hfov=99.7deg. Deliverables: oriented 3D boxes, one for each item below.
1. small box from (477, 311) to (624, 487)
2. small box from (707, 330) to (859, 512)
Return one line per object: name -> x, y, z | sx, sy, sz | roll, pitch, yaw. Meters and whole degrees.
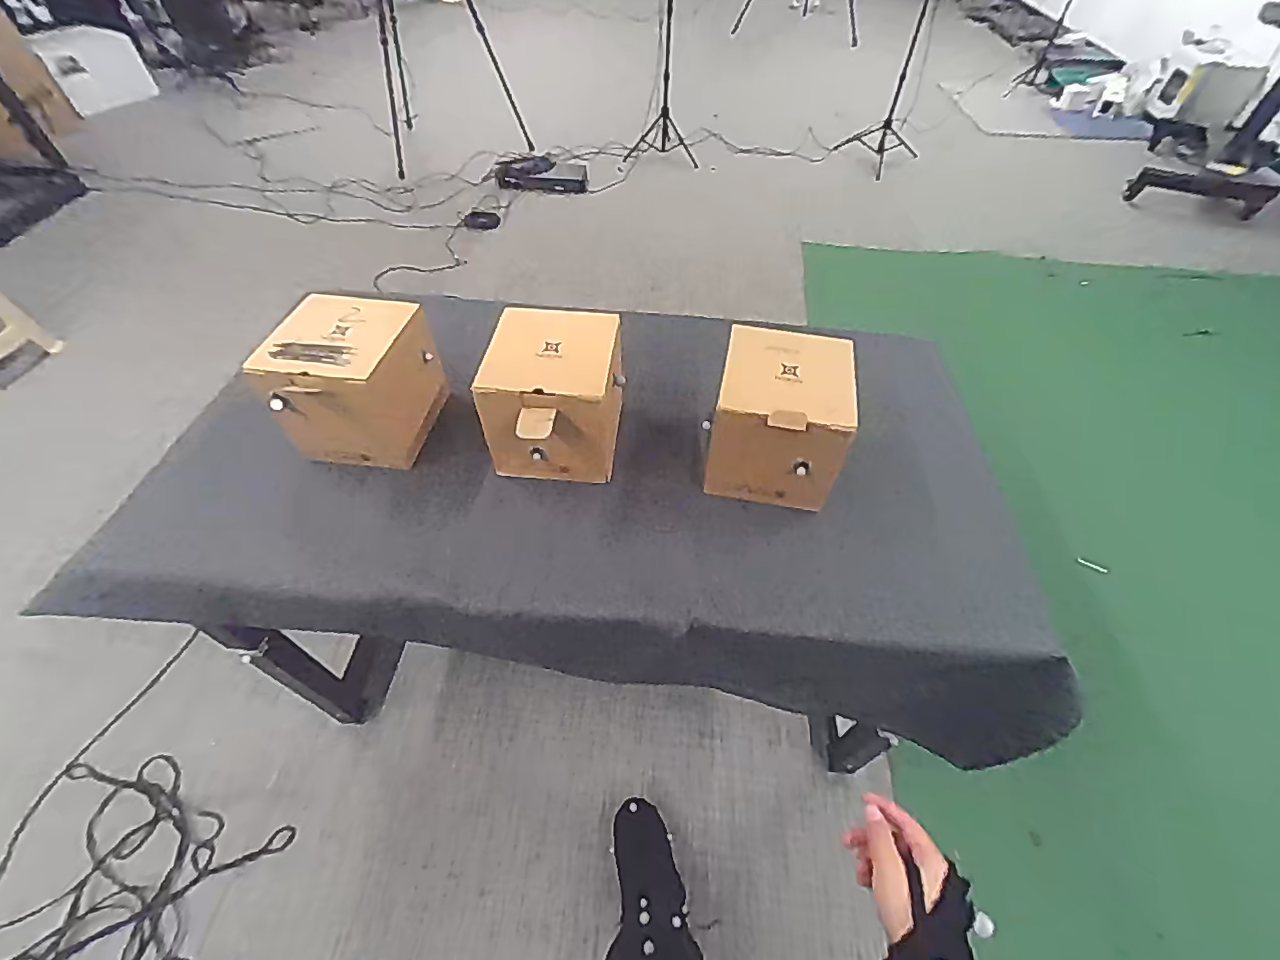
small box -> -0.114, -0.114, 0.771 | 0.168, 0.176, 0.179 | 5, 51, 2
small box -> 0.190, -0.078, 0.746 | 0.168, 0.176, 0.179 | 10, 50, 6
